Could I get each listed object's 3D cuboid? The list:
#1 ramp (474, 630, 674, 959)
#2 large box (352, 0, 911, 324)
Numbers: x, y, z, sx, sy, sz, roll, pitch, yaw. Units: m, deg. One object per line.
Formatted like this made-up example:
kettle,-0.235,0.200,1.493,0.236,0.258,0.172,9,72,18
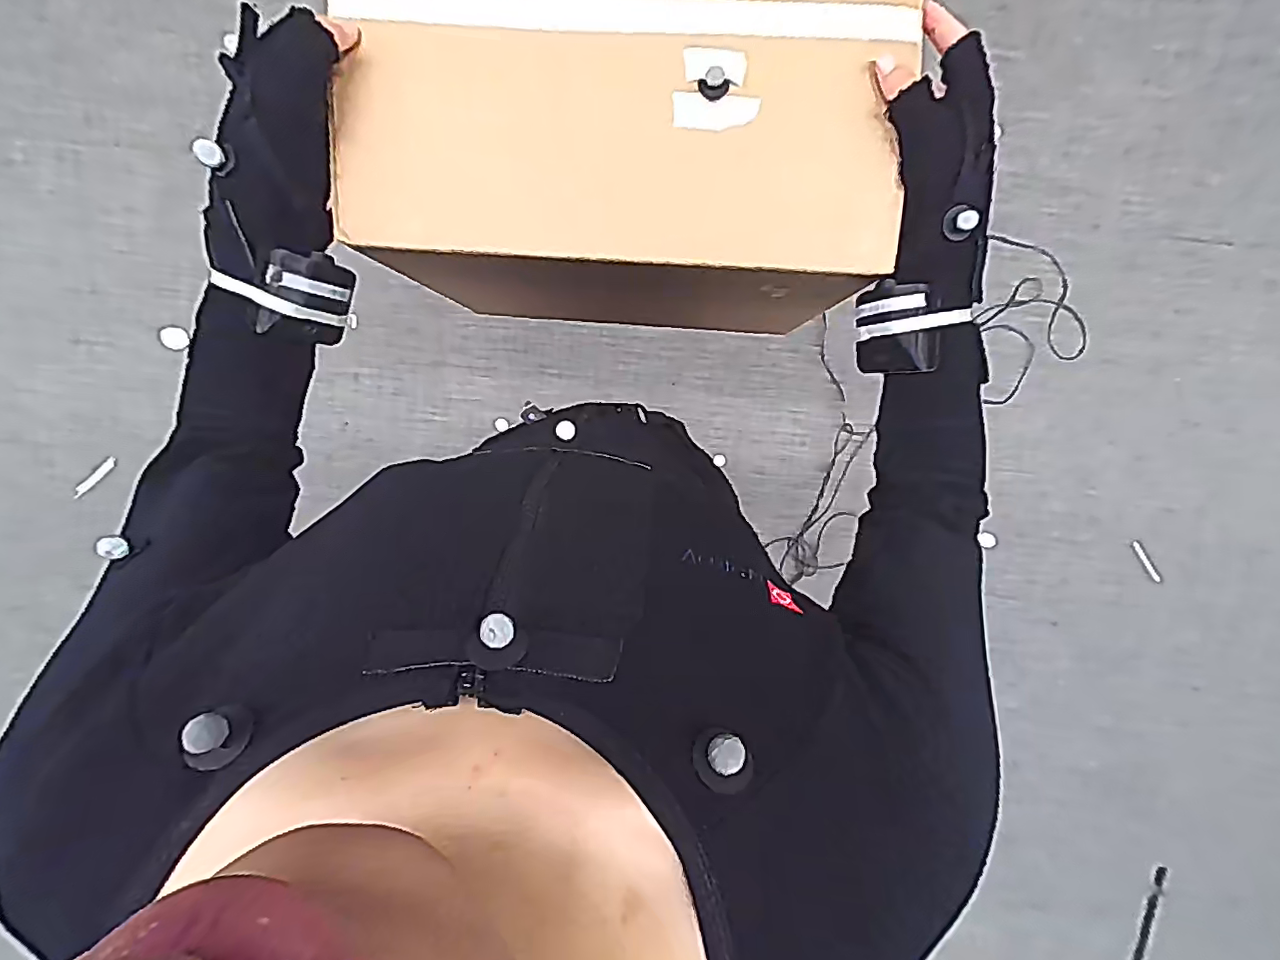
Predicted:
ramp,-0.185,0.940,1.519,0.509,0.206,0.991,3,97,1
large box,-0.007,-0.342,0.532,0.408,0.320,0.320,3,98,1
